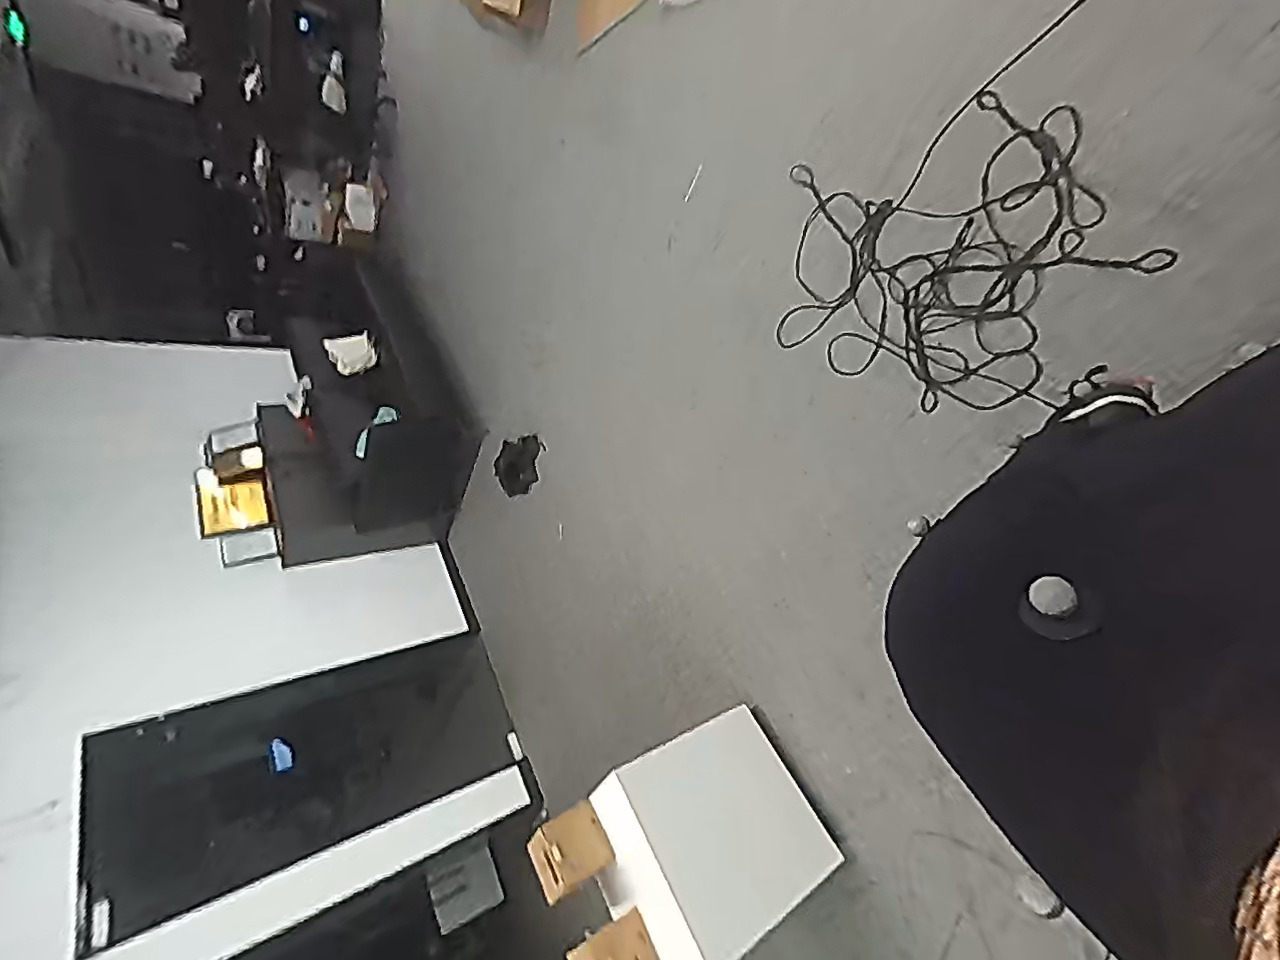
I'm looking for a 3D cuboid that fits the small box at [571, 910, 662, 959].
[{"bbox_3d":[-0.056,1.301,1.444,0.168,0.176,0.179,55,133,33],"label":"small box"}]
